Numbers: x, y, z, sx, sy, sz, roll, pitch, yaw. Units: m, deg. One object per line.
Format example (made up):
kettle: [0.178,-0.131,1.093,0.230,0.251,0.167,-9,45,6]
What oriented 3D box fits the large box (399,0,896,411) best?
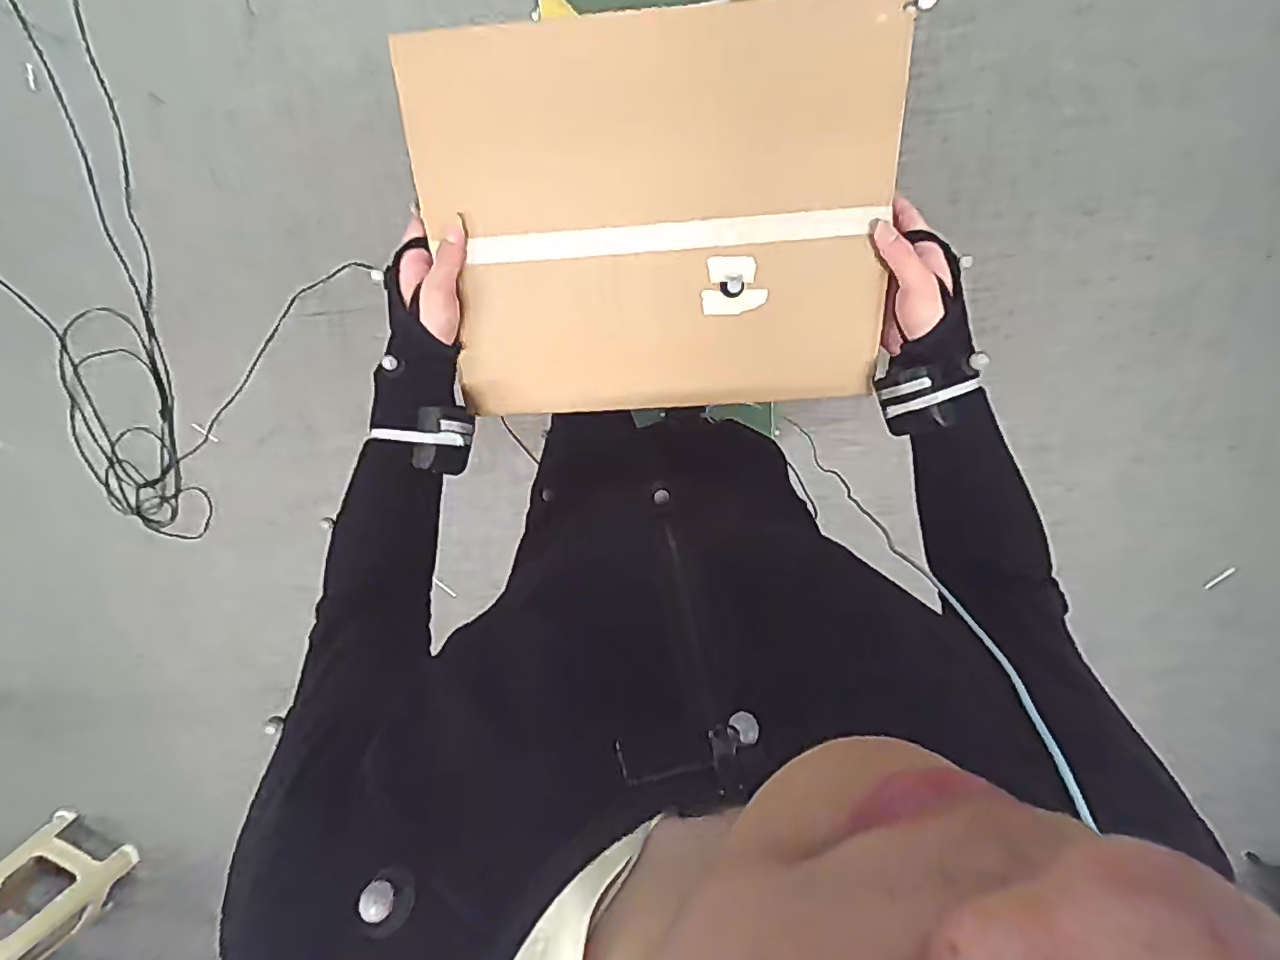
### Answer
large box: [0.015,-0.284,0.621,0.408,0.320,0.320,-3,115,3]
